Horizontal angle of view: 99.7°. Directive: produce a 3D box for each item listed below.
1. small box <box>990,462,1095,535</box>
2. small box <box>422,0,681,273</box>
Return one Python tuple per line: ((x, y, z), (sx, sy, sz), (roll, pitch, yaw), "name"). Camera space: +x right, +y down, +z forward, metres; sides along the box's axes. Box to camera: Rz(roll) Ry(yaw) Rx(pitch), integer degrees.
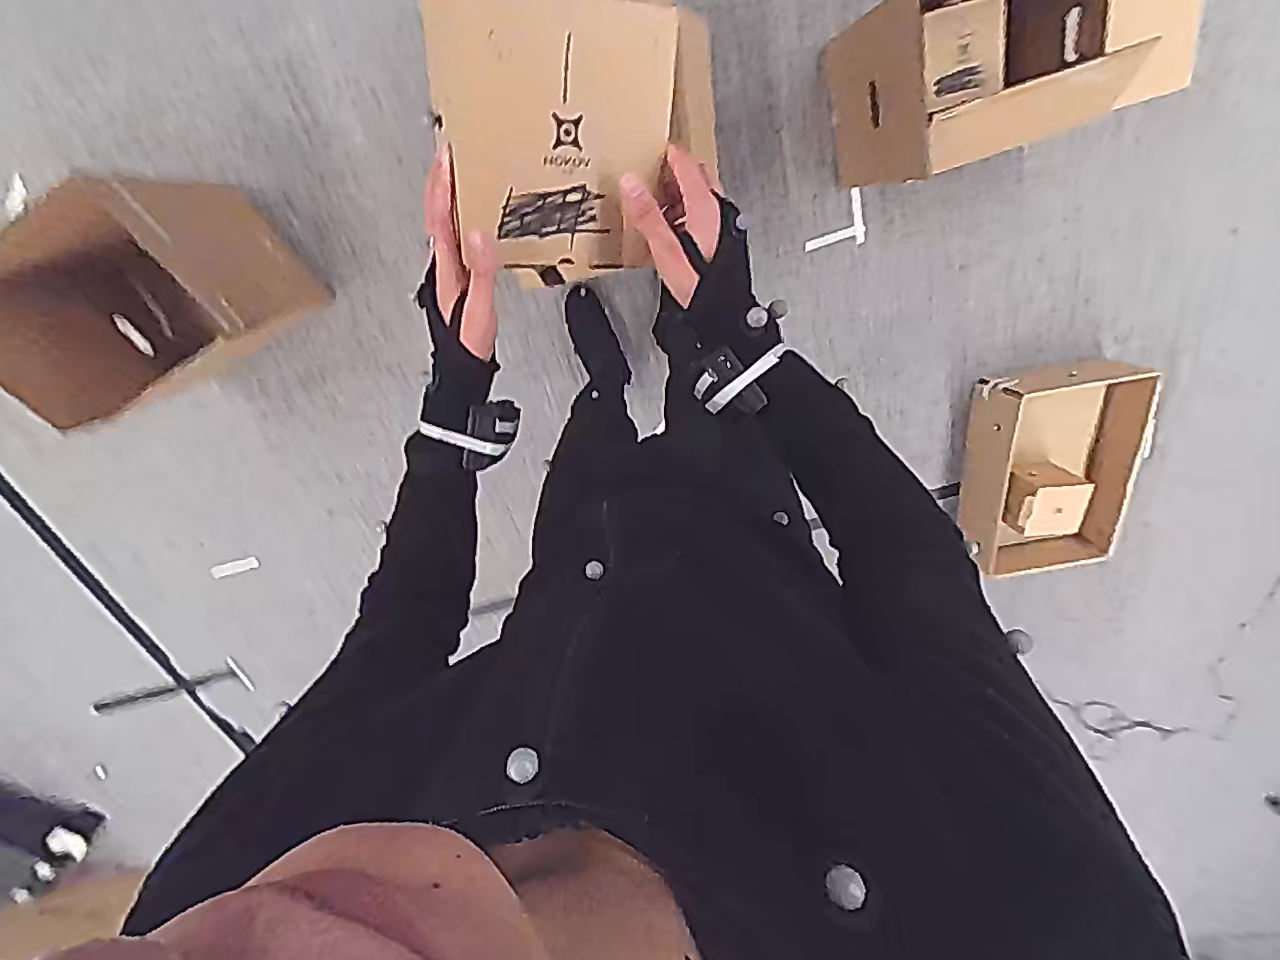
((1.212, 0.053, 1.646), (0.179, 0.176, 0.168), (-3, 116, -4), "small box")
((-0.082, -0.285, 0.451), (0.168, 0.176, 0.179), (-9, 126, -20), "small box")
